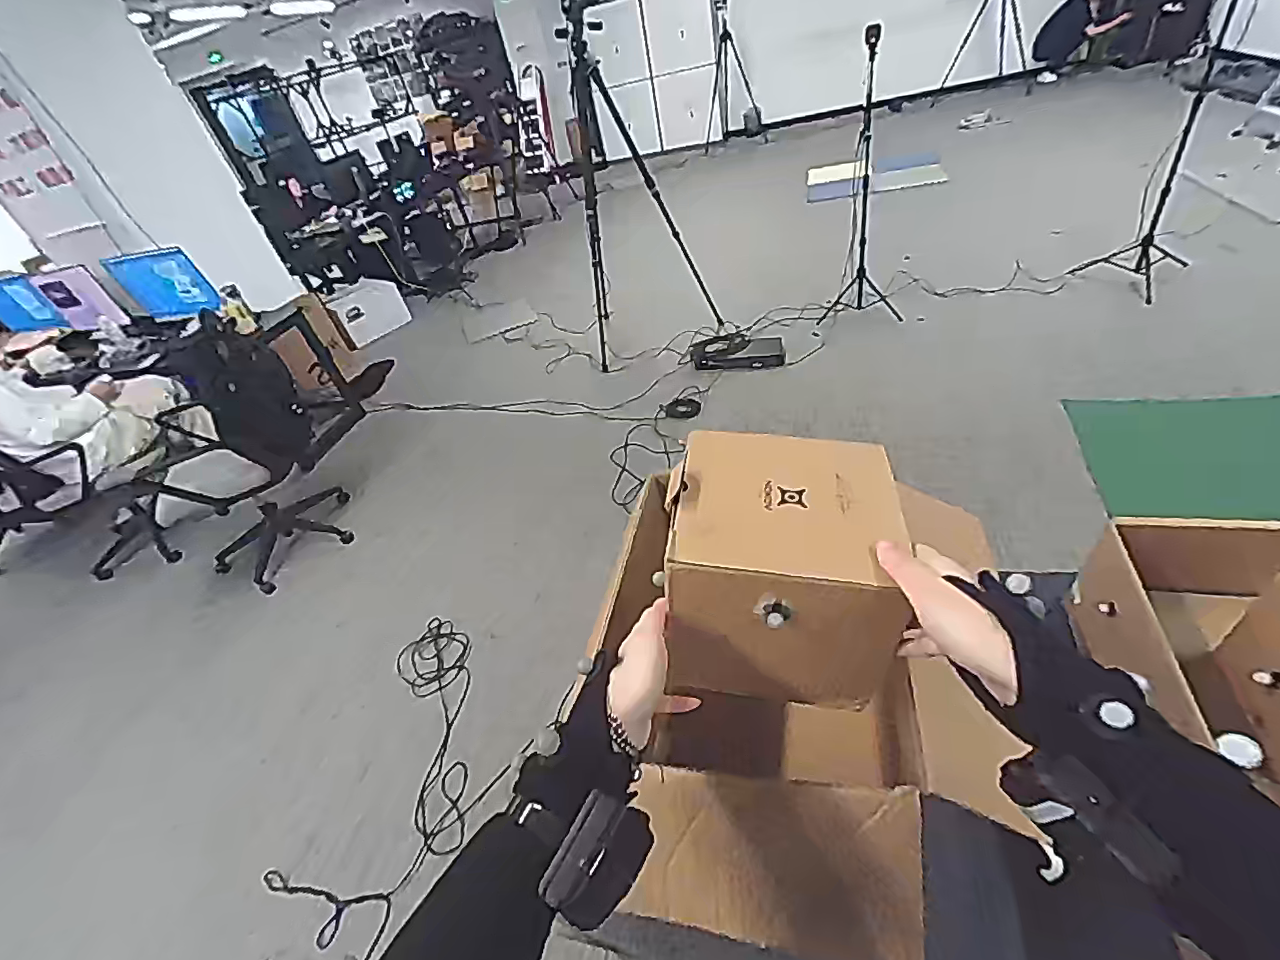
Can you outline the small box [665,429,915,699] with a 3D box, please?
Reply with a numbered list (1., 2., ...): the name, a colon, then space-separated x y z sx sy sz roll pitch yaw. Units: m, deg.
1. small box: 0.119 0.074 0.490 0.179 0.176 0.168 7 41 8
